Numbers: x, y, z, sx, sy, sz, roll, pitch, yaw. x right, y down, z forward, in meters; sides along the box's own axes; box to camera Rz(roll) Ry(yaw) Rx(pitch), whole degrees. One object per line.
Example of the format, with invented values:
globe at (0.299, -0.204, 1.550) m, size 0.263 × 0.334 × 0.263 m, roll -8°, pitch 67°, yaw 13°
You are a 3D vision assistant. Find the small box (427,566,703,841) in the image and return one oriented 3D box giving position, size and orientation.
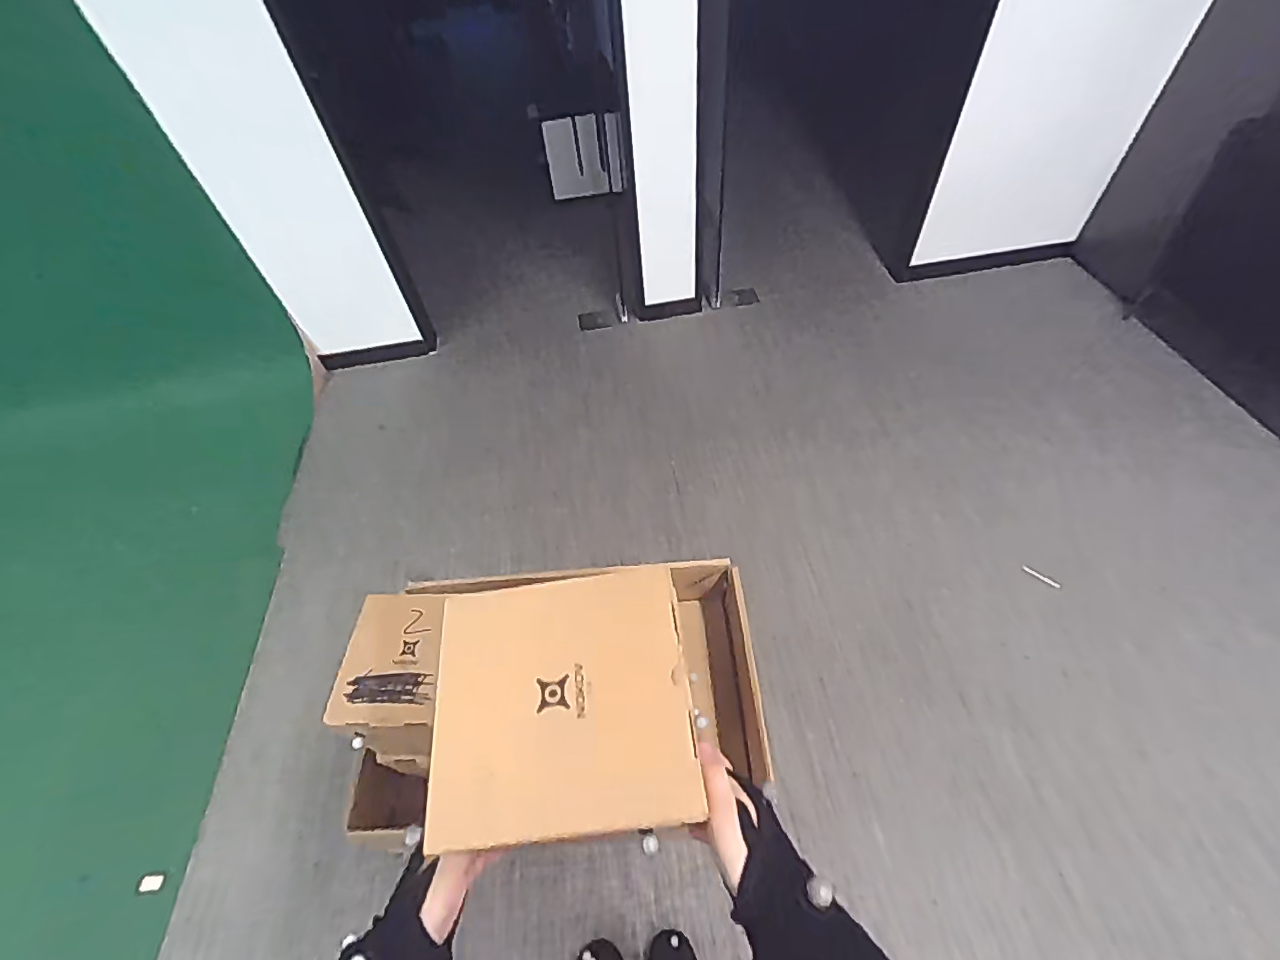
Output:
small box at (-0.046, 0.188, 0.440) m, size 0.179 × 0.176 × 0.168 m, roll -8°, pitch 57°, yaw 1°
